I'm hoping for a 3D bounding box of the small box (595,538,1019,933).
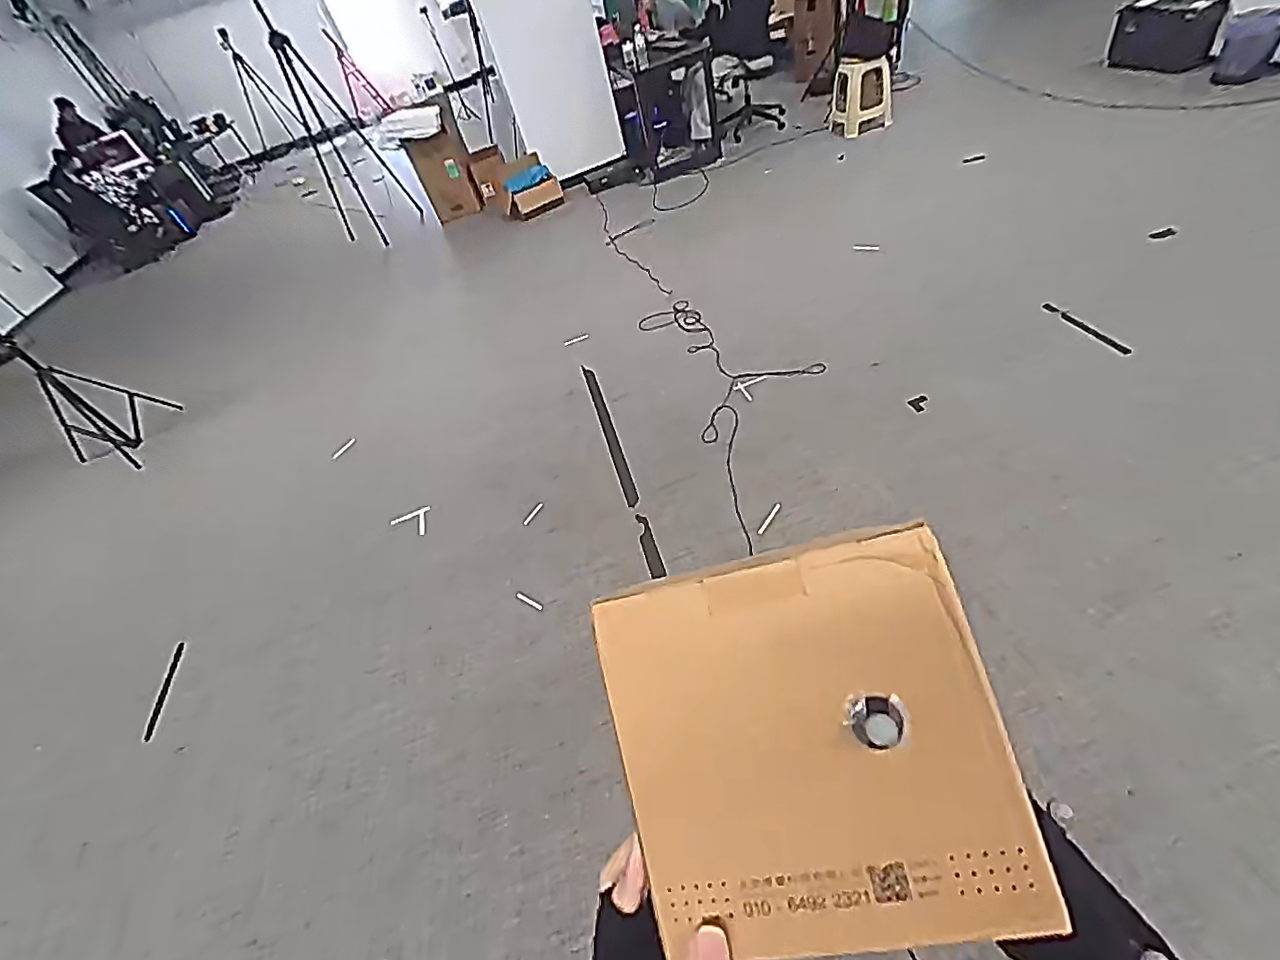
[{"bbox_3d":[0.093,0.140,0.336,0.168,0.179,0.176,-17,80,13],"label":"small box"}]
